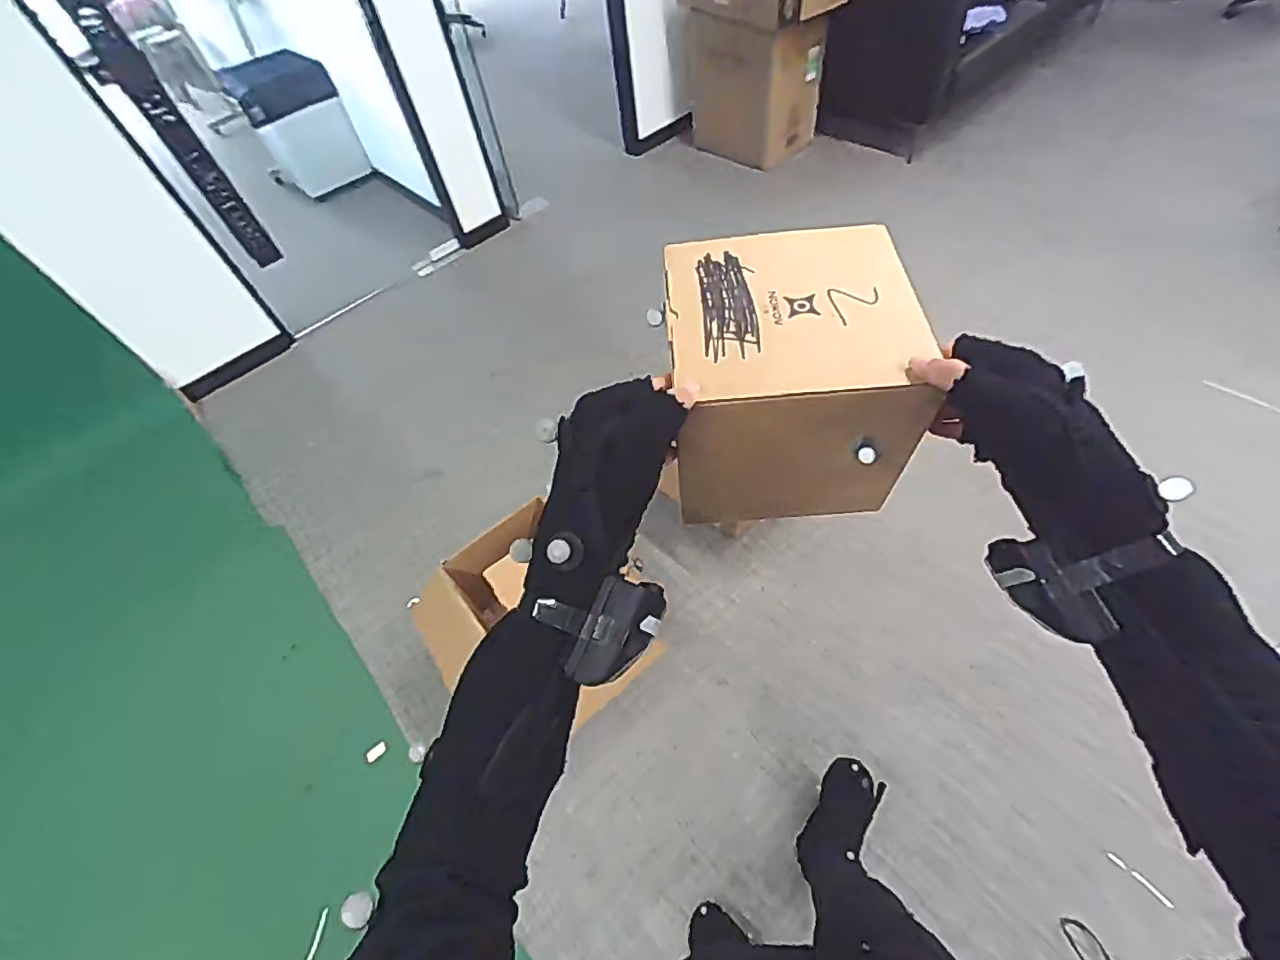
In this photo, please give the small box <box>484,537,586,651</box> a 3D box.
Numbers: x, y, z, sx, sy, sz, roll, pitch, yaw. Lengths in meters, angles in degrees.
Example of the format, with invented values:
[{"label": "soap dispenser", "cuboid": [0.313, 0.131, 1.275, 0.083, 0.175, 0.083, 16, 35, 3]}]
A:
[{"label": "small box", "cuboid": [-0.245, 0.279, 1.314, 0.179, 0.176, 0.168, -34, 56, -18]}]
